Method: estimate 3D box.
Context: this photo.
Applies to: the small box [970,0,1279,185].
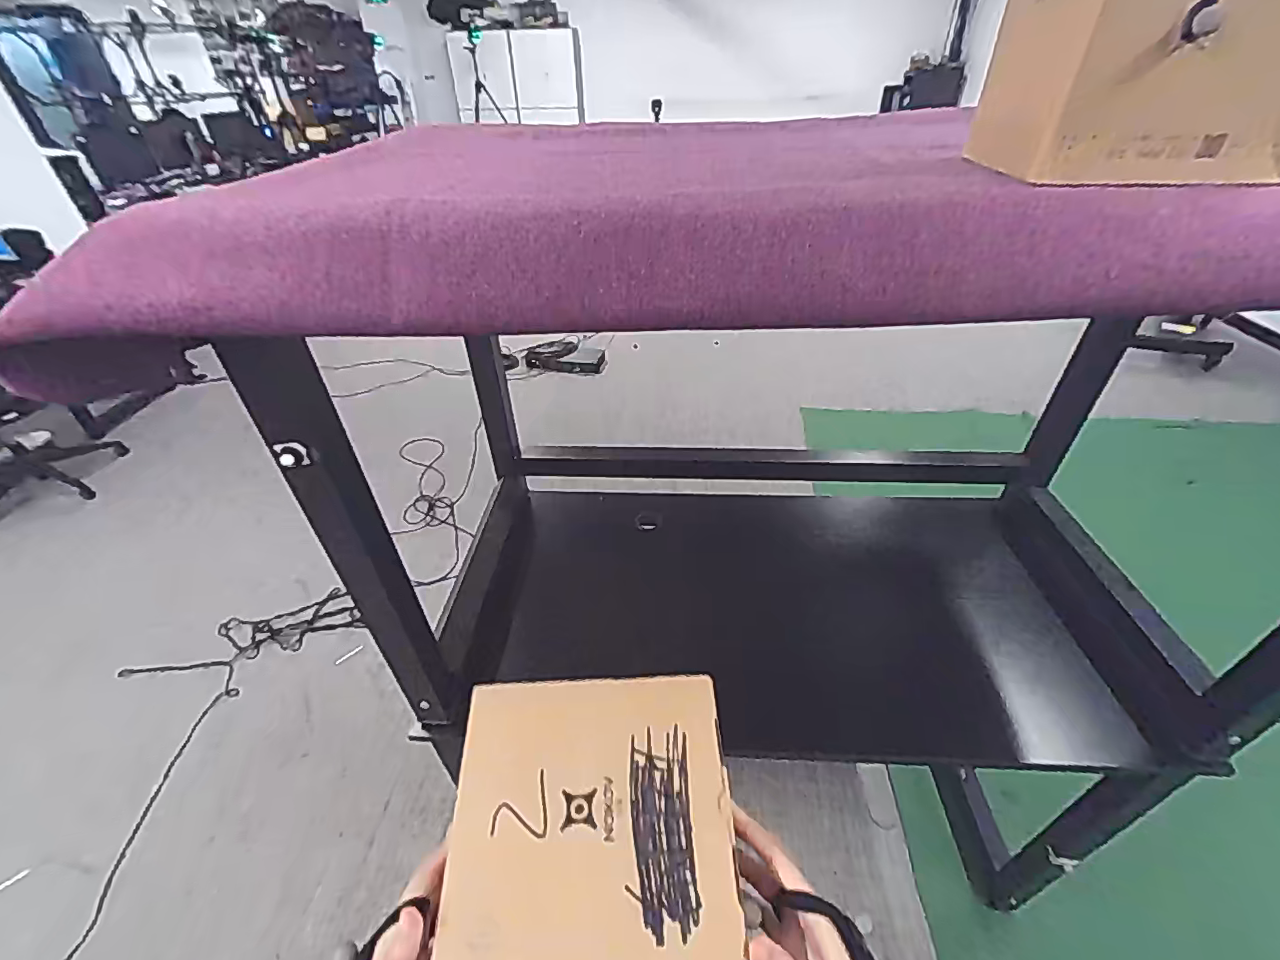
[{"bbox_3d":[0.382,-0.325,0.403,0.168,0.176,0.179,5,36,8],"label":"small box"}]
